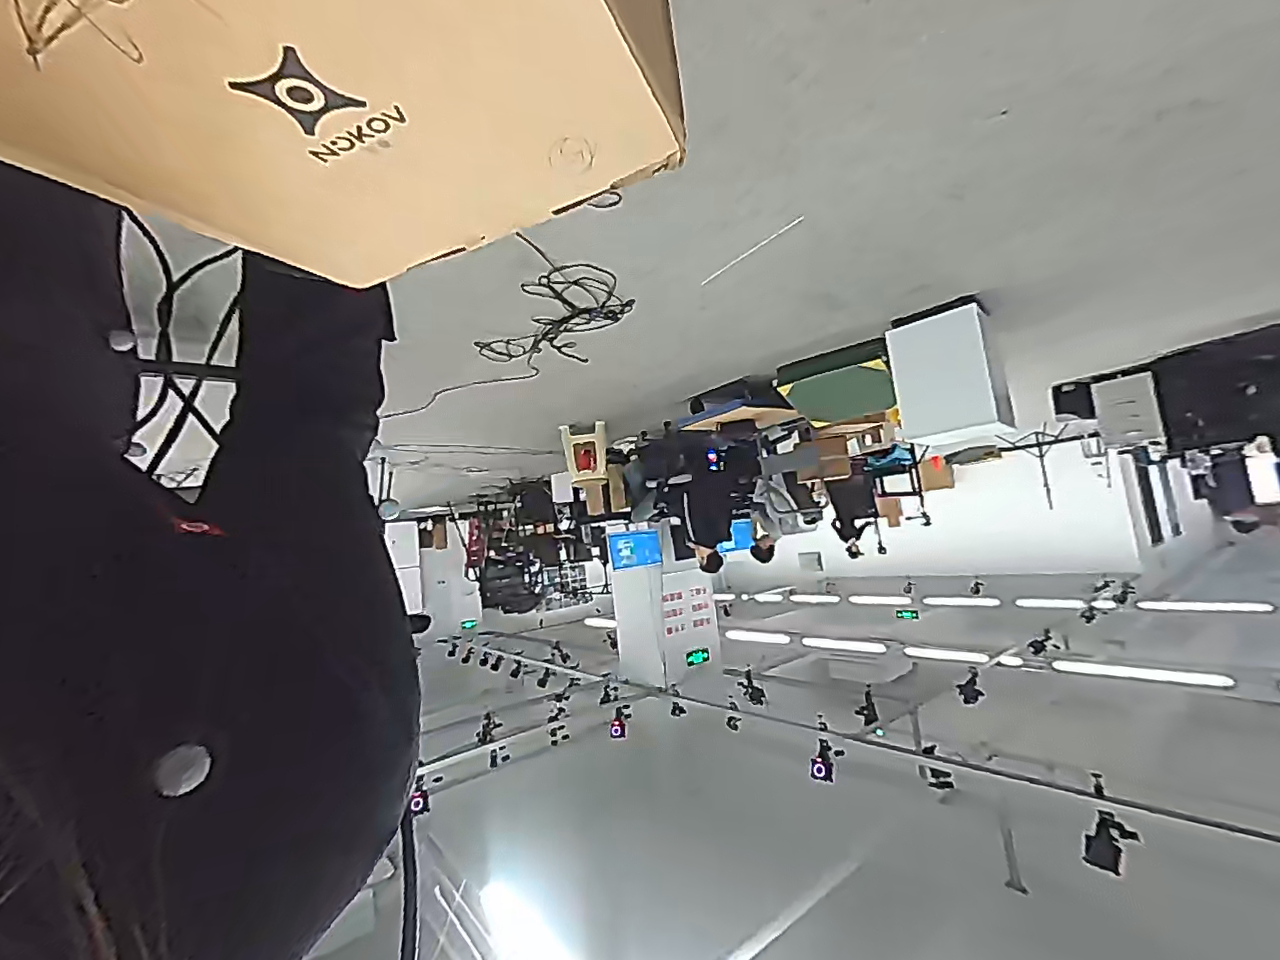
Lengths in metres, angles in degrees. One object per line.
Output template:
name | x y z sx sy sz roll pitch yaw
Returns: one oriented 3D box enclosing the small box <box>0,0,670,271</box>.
small box | -0.103 -0.190 0.152 0.168 0.176 0.179 -10 176 21
